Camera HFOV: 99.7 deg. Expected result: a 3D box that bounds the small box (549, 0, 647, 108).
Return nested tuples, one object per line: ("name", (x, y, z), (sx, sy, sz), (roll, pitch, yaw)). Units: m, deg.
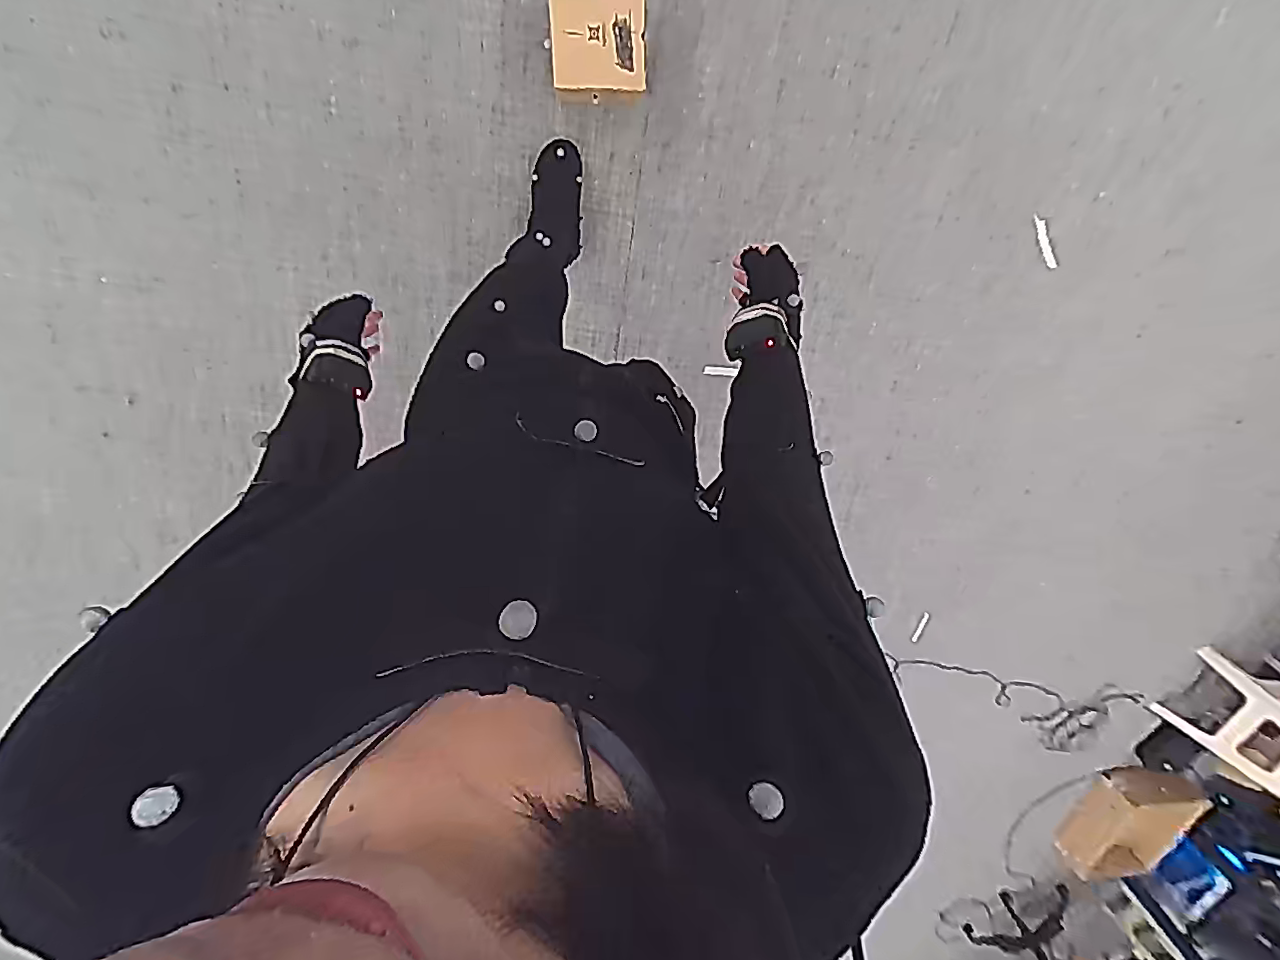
("small box", (-0.085, -0.840, 1.055), (0.179, 0.176, 0.168), (-2, 117, -5))
